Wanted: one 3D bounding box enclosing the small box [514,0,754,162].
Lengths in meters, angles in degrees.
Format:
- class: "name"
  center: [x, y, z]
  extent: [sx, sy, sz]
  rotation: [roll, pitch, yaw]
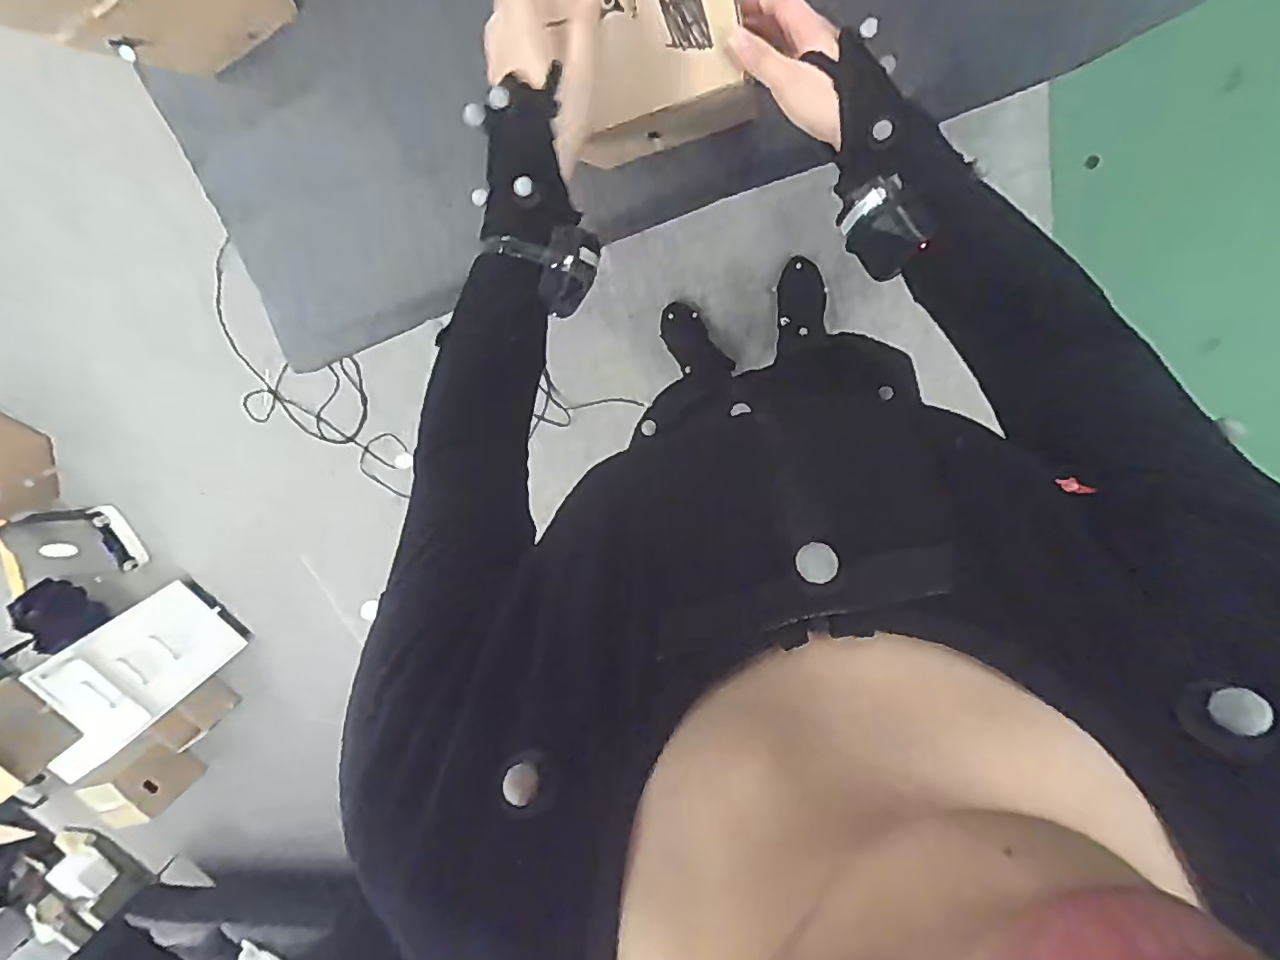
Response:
- class: "small box"
  center: [0.005, -0.408, 0.490]
  extent: [0.179, 0.176, 0.168]
  rotation: [-7, 113, 19]
